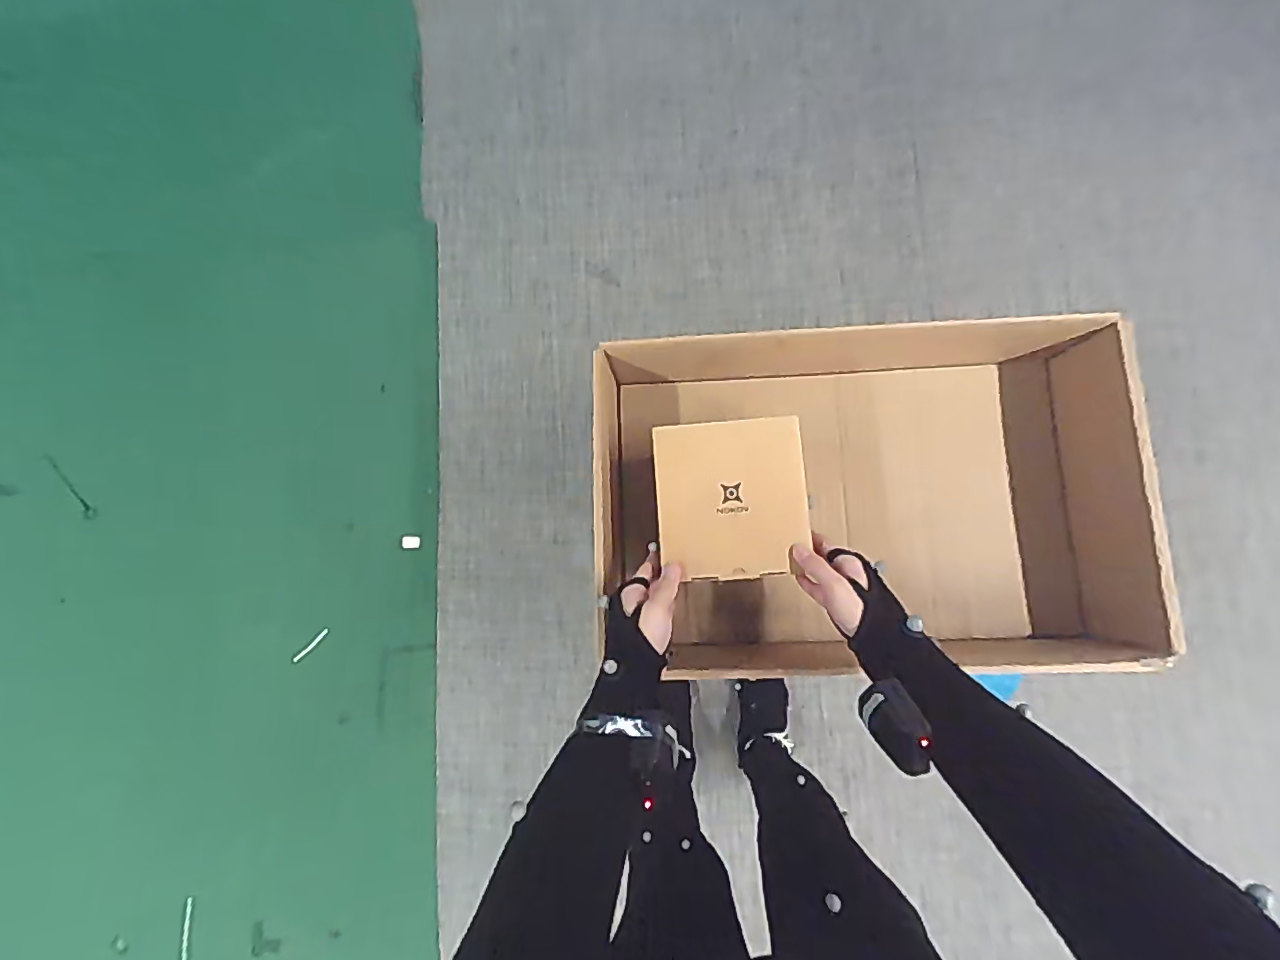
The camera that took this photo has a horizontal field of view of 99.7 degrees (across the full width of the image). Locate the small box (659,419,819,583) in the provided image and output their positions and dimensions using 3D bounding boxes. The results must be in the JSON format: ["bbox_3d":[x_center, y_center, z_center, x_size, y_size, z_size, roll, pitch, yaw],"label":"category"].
[{"bbox_3d":[0.109,0.034,0.670,0.168,0.176,0.179,-4,82,2],"label":"small box"}]
